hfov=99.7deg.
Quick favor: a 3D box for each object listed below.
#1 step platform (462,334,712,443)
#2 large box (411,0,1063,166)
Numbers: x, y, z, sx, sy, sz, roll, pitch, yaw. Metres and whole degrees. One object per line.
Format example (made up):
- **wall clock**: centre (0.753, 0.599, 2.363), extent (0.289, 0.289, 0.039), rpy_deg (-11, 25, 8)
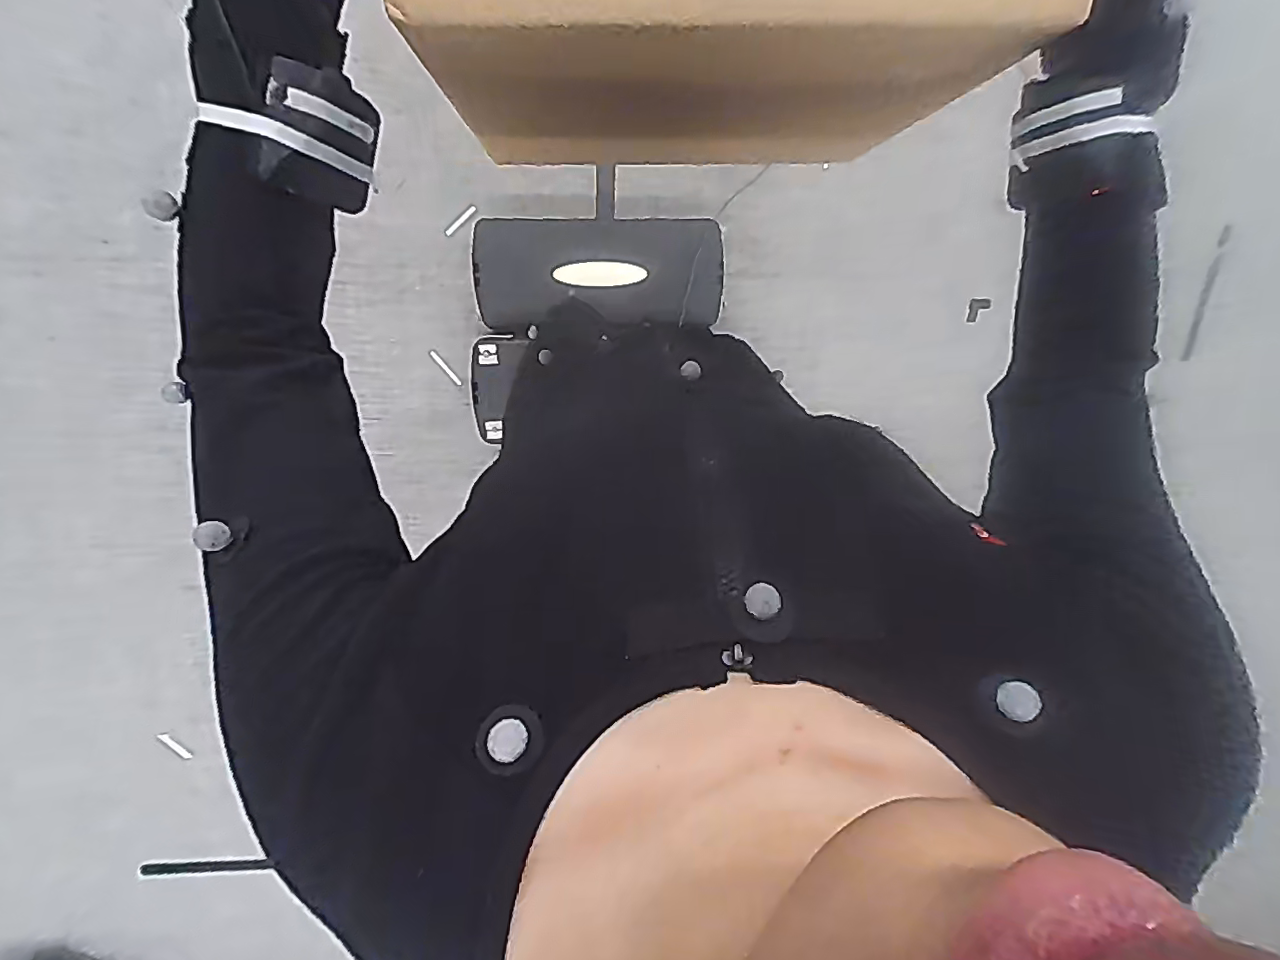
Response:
- **step platform**: centre (-0.140, -0.257, 1.513), extent (0.684, 0.204, 0.286), rpy_deg (-2, 105, -3)
- **large box**: centre (0.045, -0.461, 0.421), extent (0.408, 0.320, 0.320), rpy_deg (-3, 108, -4)
